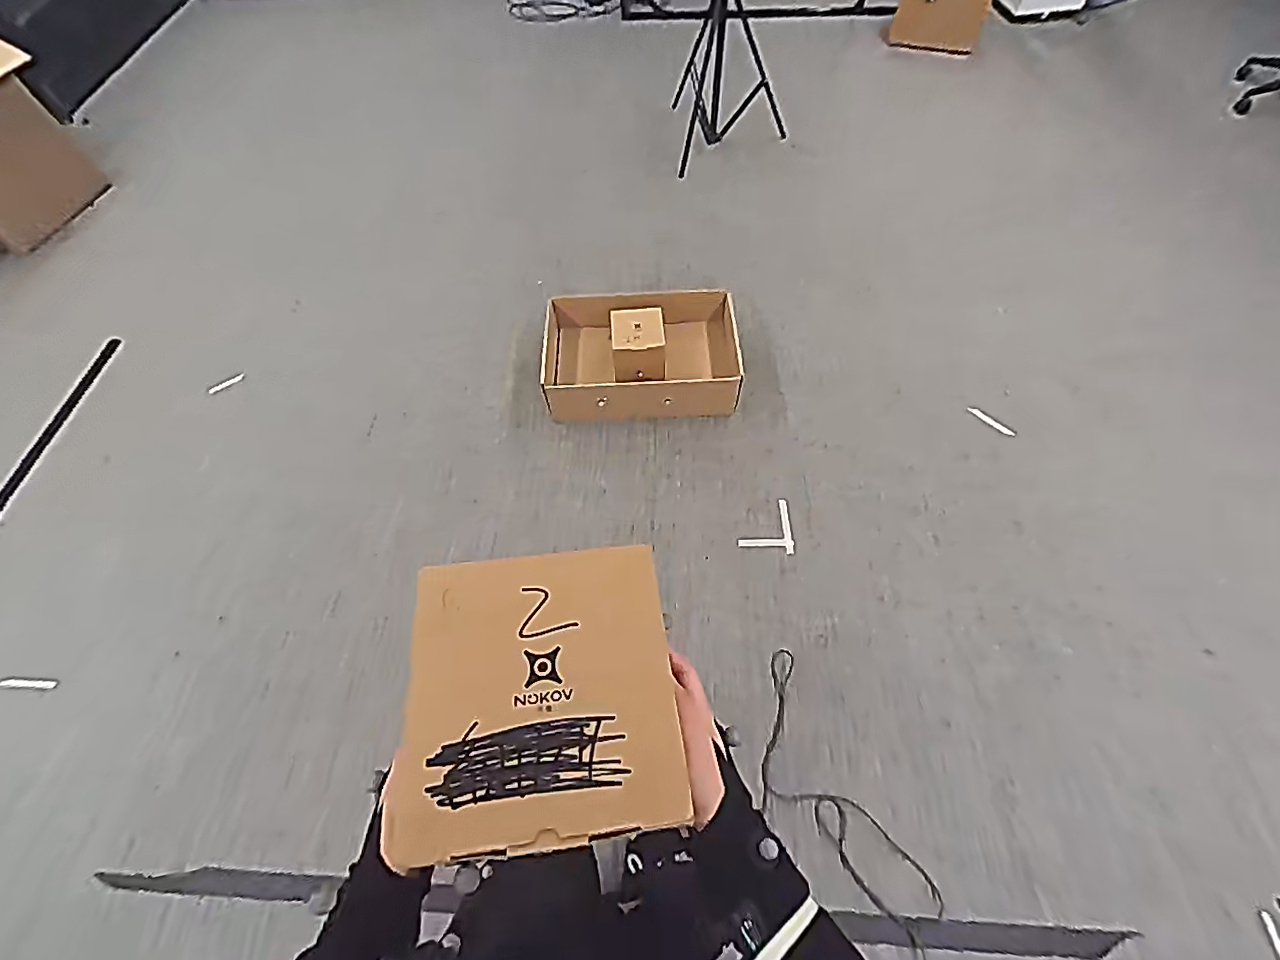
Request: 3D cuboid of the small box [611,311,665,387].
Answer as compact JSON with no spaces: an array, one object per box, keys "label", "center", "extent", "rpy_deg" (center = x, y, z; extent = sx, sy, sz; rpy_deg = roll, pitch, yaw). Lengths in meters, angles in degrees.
[{"label":"small box","center":[-0.008,-0.430,1.778],"extent":[0.168,0.176,0.179],"rpy_deg":[-4,60,0]}]
